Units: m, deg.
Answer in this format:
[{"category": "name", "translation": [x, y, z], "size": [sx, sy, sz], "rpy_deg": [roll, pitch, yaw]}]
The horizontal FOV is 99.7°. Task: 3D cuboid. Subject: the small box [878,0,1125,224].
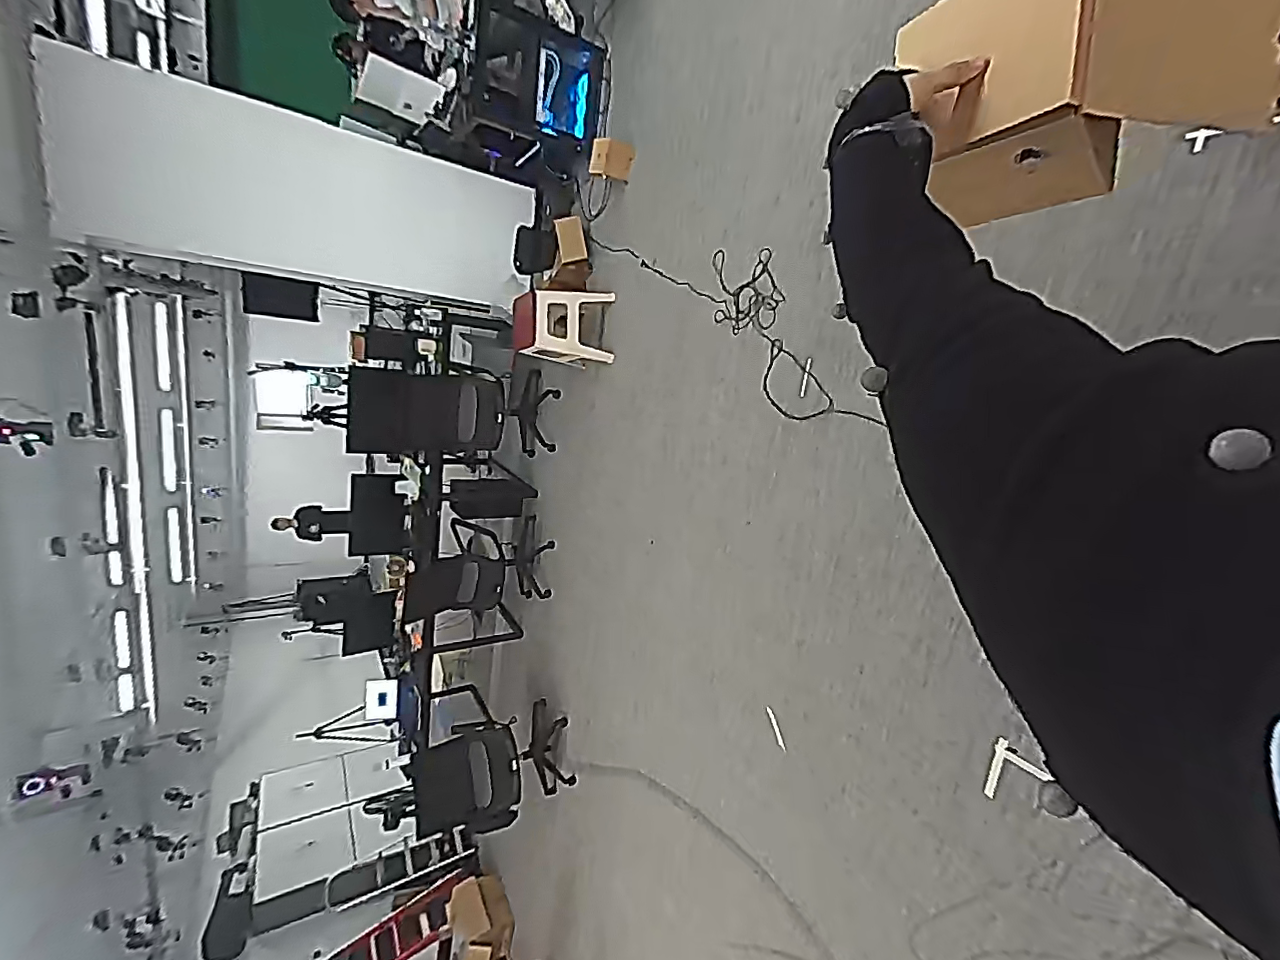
[{"category": "small box", "translation": [0.385, -0.401, 0.576], "size": [0.179, 0.176, 0.168], "rpy_deg": [8, 92, 50]}]
